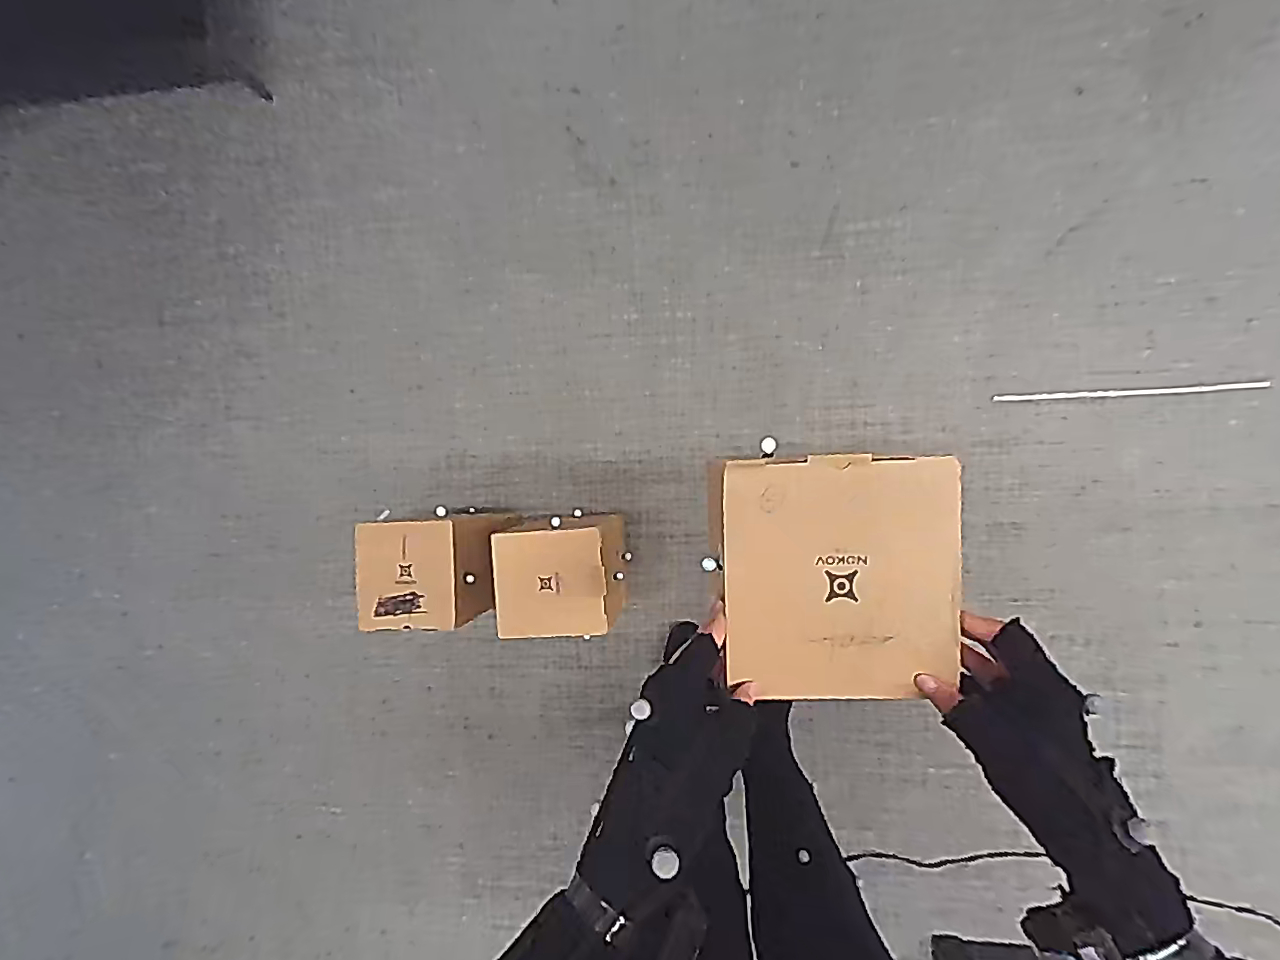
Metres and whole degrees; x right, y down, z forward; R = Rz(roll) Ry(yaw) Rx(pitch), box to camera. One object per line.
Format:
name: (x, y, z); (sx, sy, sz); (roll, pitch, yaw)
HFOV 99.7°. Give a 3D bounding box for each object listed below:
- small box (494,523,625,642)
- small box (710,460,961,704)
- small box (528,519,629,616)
small box: (-0.127, 0.164, 0.904); (0.179, 0.176, 0.168); (-5, 90, 5)
small box: (0.149, 0.071, 0.468); (0.168, 0.176, 0.179); (-1, 94, 4)
small box: (-0.115, 0.169, 1.067); (0.168, 0.176, 0.179); (-3, 89, 7)
